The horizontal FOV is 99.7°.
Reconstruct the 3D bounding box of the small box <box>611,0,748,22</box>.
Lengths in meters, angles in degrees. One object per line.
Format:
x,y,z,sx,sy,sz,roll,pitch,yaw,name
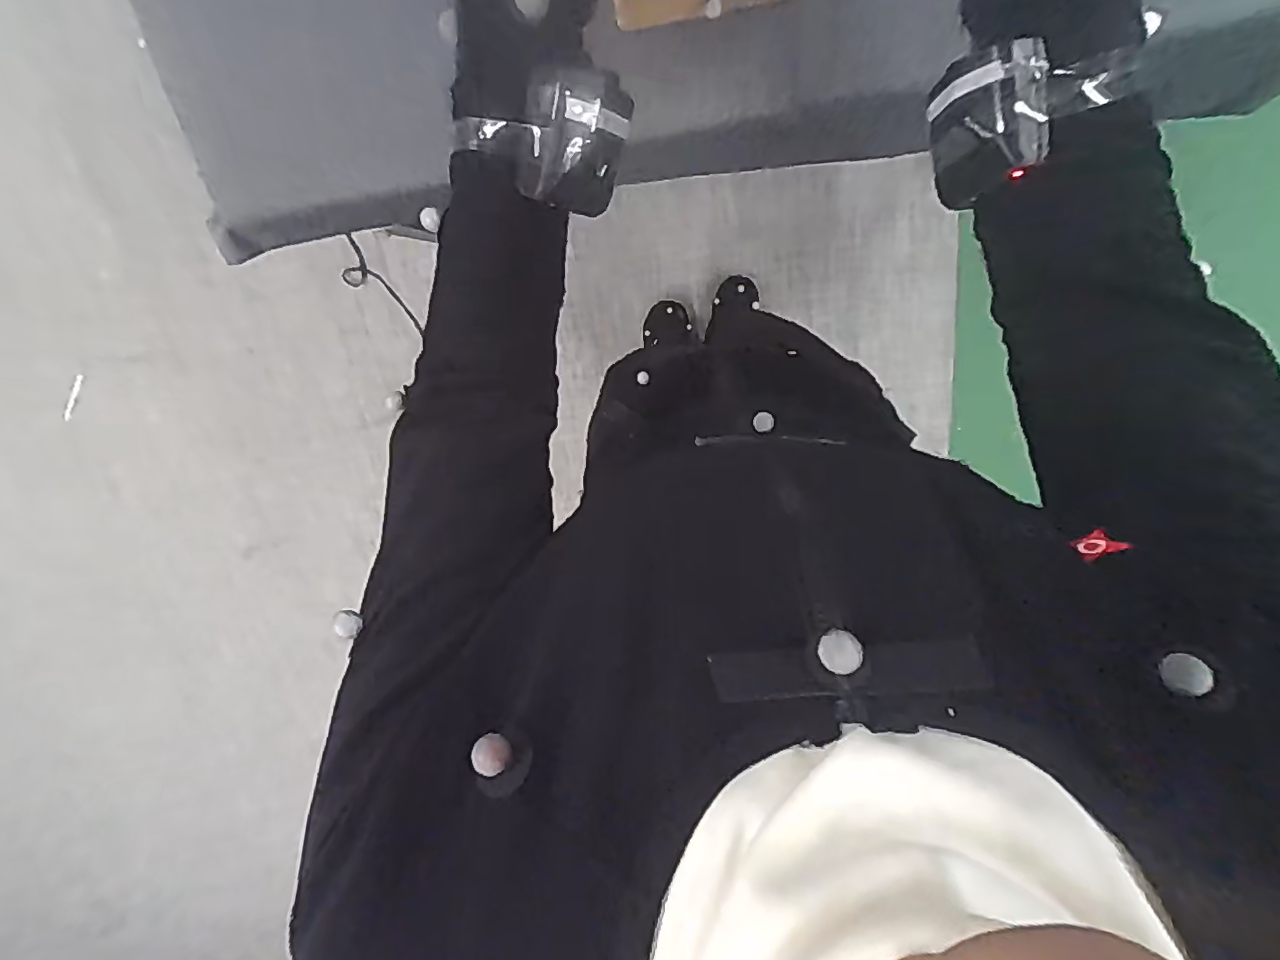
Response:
0.050,-0.505,0.423,0.179,0.176,0.168,-8,109,3,small box
